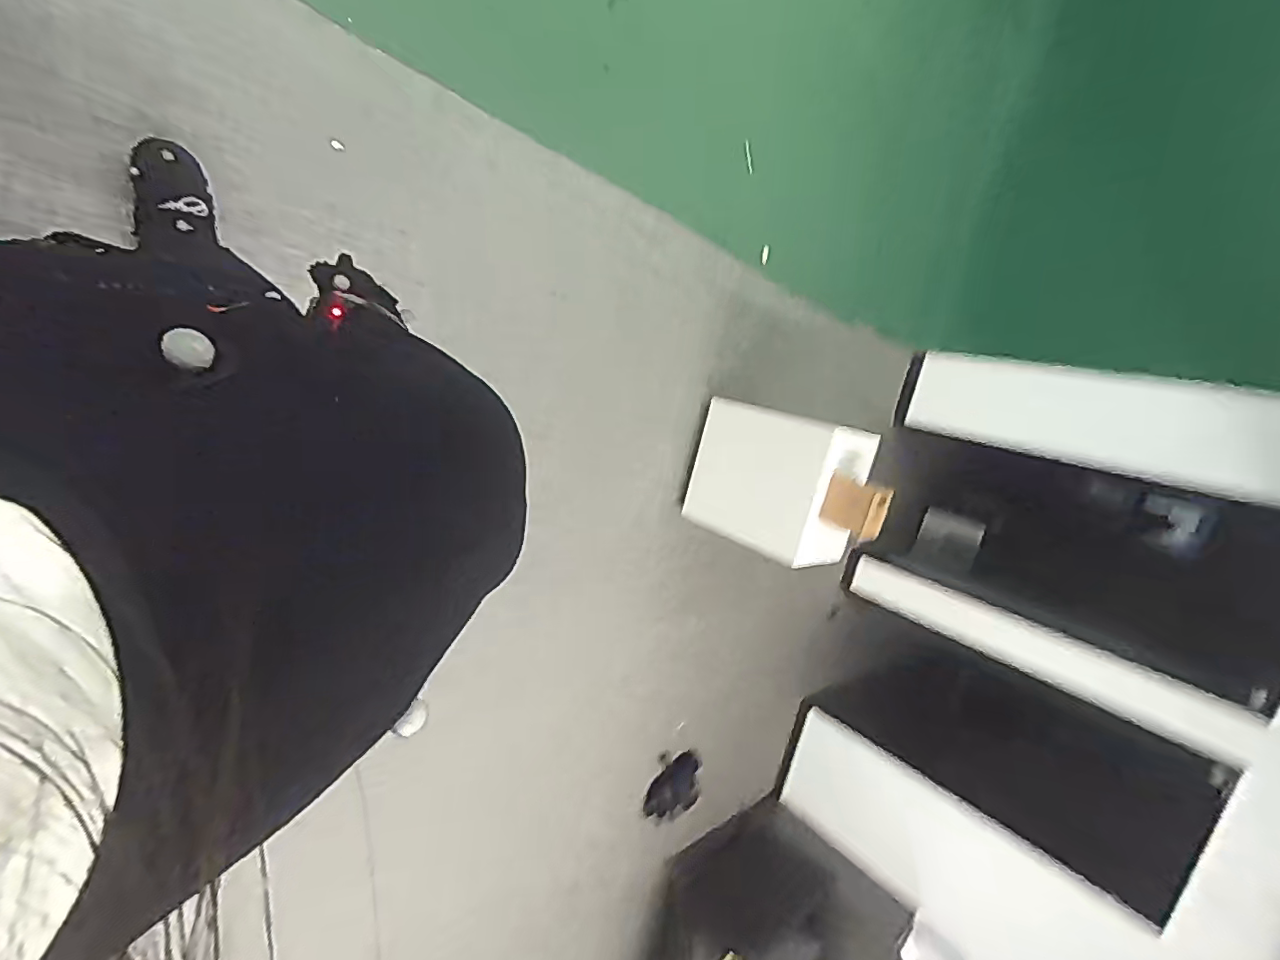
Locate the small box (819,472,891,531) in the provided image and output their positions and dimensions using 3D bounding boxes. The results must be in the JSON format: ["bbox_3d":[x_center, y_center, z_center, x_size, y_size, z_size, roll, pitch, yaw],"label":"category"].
[{"bbox_3d":[0.769,0.076,1.947,0.168,0.176,0.179,5,103,-46],"label":"small box"}]
